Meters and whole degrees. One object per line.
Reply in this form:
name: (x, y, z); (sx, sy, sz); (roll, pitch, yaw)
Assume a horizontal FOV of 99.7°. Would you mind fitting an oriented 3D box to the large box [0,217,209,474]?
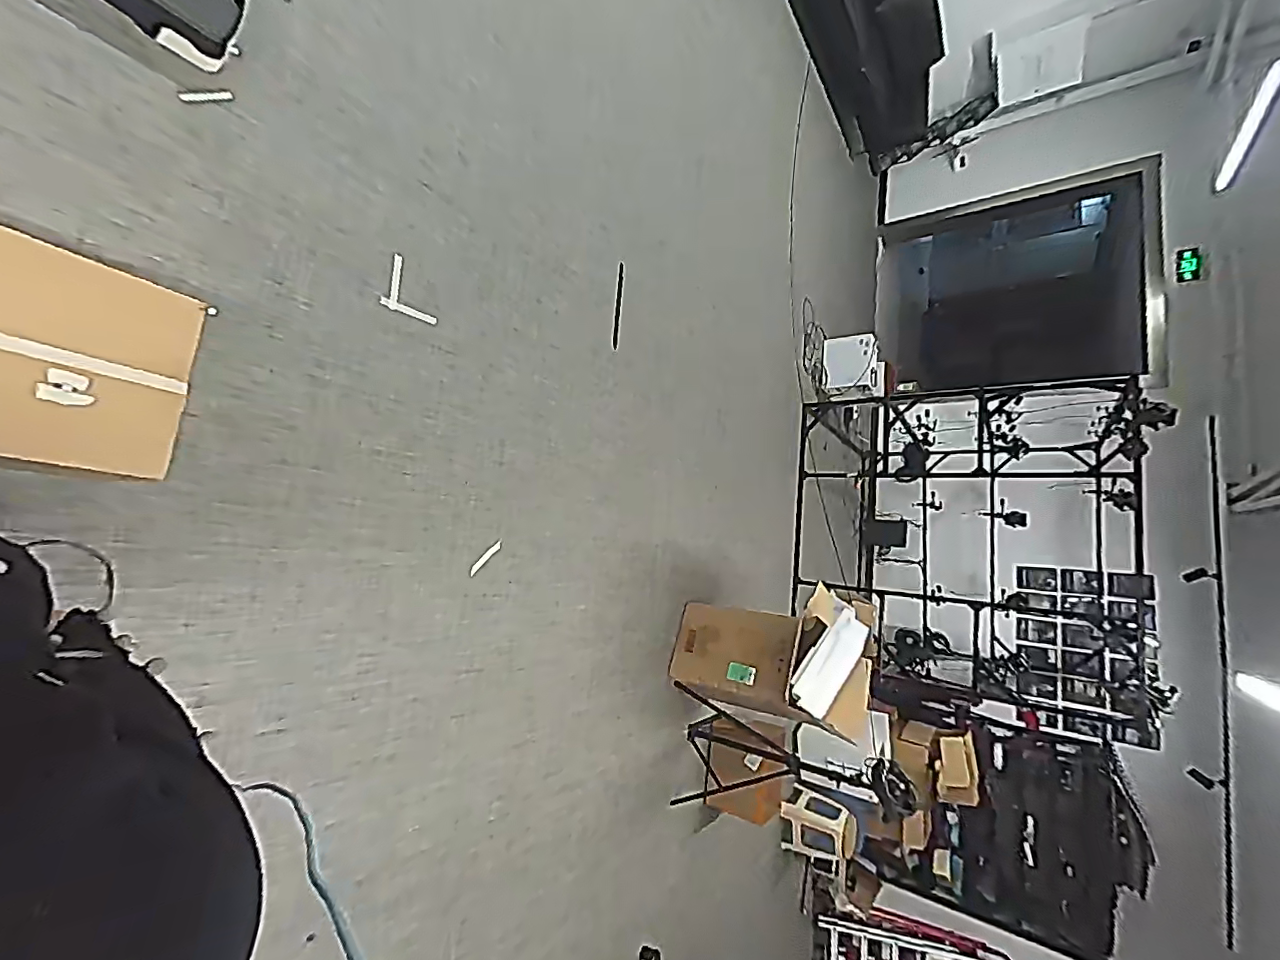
large box: (-0.977, -0.195, 0.813); (0.408, 0.320, 0.320); (19, 75, -55)
